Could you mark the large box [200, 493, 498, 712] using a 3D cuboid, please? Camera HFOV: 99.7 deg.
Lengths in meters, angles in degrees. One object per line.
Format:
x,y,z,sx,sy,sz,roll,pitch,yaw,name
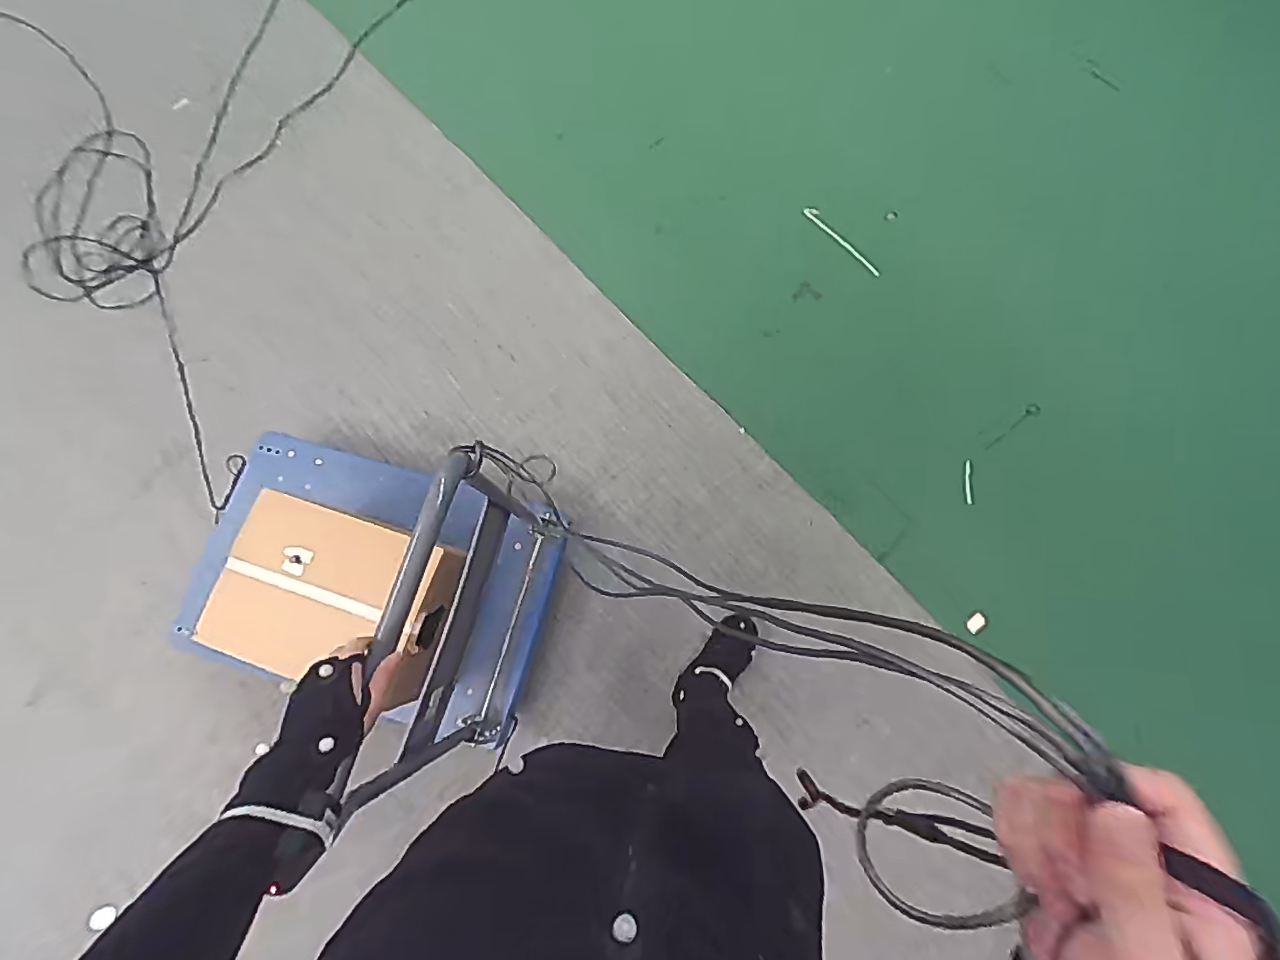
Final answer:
-0.580,0.251,1.158,0.408,0.320,0.320,17,78,8,large box
